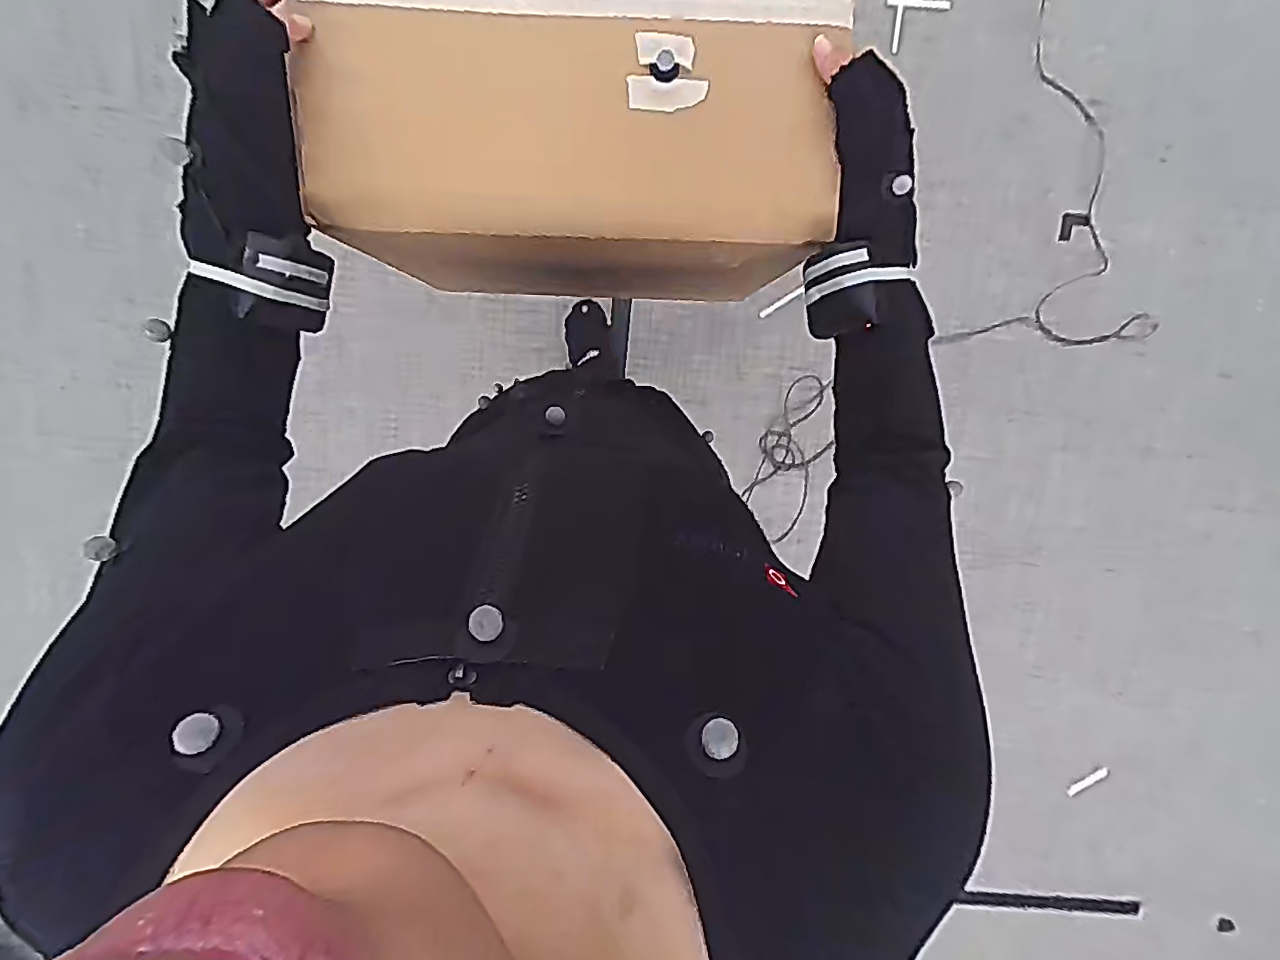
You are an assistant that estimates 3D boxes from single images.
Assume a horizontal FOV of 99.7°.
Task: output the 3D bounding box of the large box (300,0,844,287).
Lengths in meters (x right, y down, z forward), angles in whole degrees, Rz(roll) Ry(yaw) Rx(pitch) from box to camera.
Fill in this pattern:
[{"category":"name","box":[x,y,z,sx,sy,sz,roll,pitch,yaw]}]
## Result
[{"category":"large box","box":[-0.054,-0.380,0.541,0.408,0.320,0.320,1,101,-3]}]
